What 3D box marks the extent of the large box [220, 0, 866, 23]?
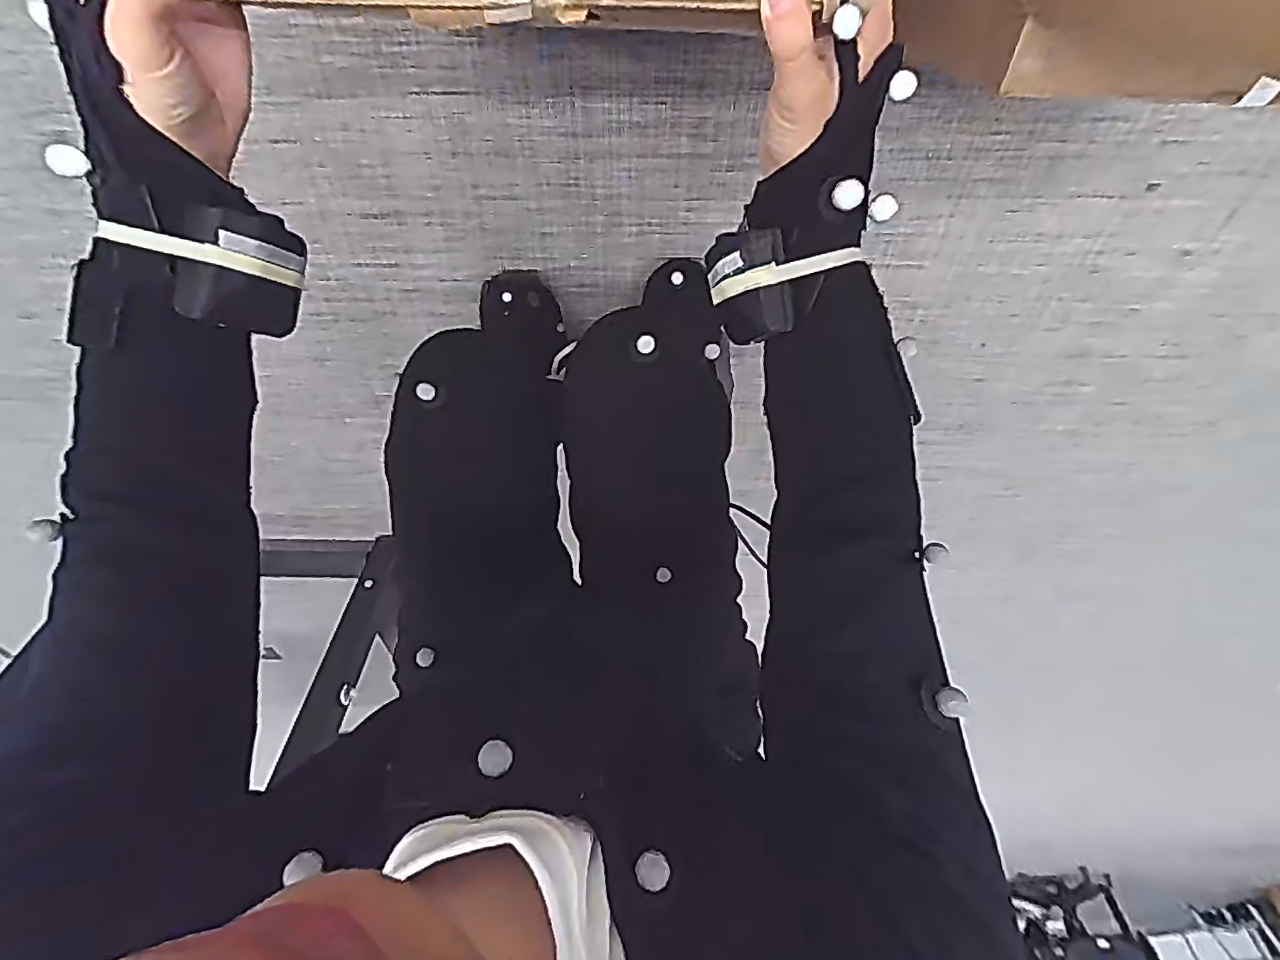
[{"bbox_3d":[-0.043,-0.457,0.223,0.320,0.320,0.408,1,129,1],"label":"large box"}]
